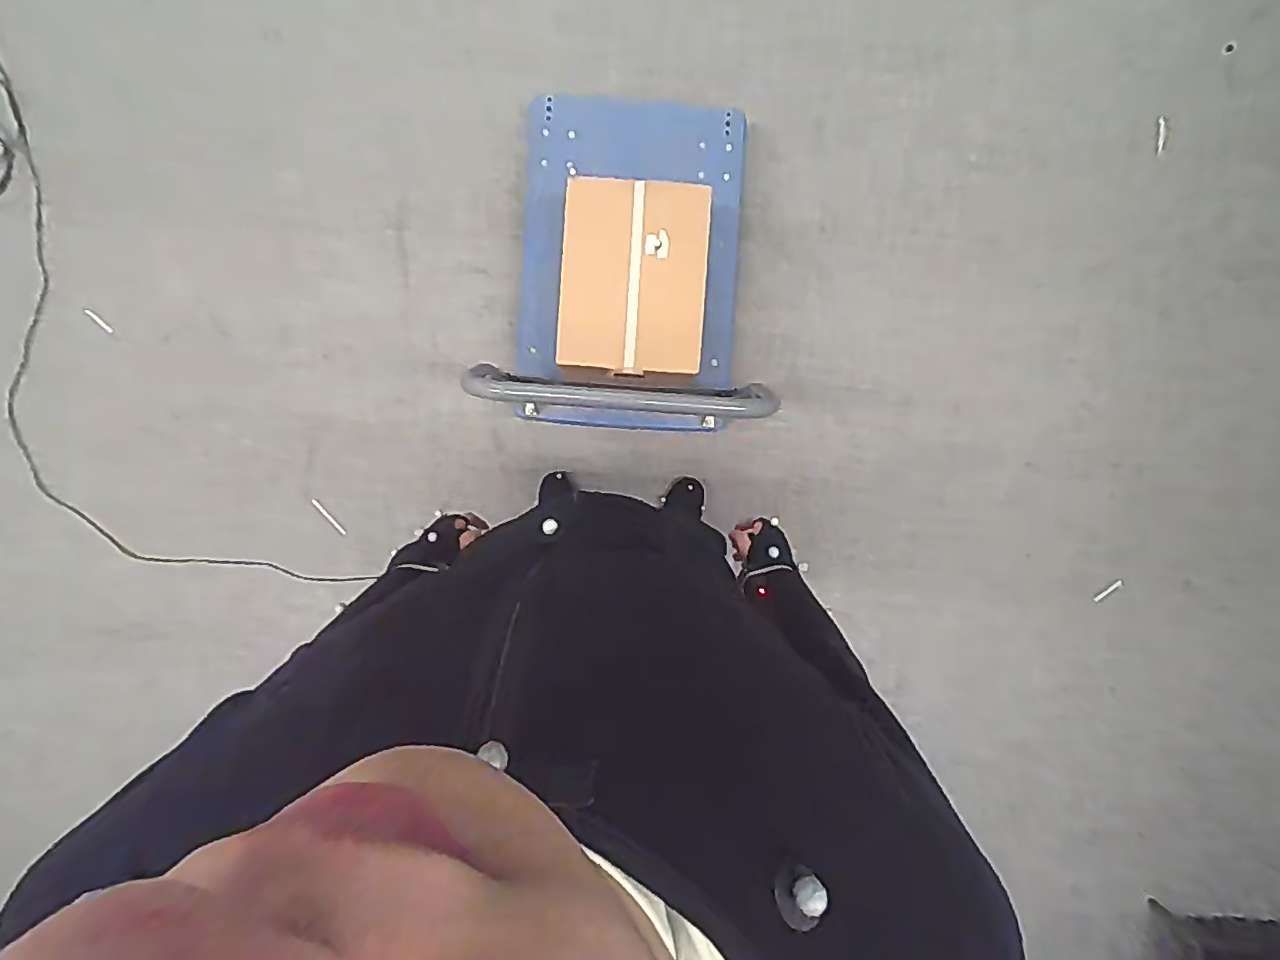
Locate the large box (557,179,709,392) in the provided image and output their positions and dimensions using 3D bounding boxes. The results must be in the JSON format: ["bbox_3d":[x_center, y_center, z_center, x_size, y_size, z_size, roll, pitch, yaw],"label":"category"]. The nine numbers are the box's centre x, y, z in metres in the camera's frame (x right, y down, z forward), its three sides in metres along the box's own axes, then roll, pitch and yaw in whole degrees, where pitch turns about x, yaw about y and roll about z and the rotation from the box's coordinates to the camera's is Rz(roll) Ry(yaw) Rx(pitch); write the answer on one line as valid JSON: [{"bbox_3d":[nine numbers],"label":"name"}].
[{"bbox_3d":[-0.017,-0.440,1.311,0.320,0.320,0.408,4,91,-2],"label":"large box"}]
